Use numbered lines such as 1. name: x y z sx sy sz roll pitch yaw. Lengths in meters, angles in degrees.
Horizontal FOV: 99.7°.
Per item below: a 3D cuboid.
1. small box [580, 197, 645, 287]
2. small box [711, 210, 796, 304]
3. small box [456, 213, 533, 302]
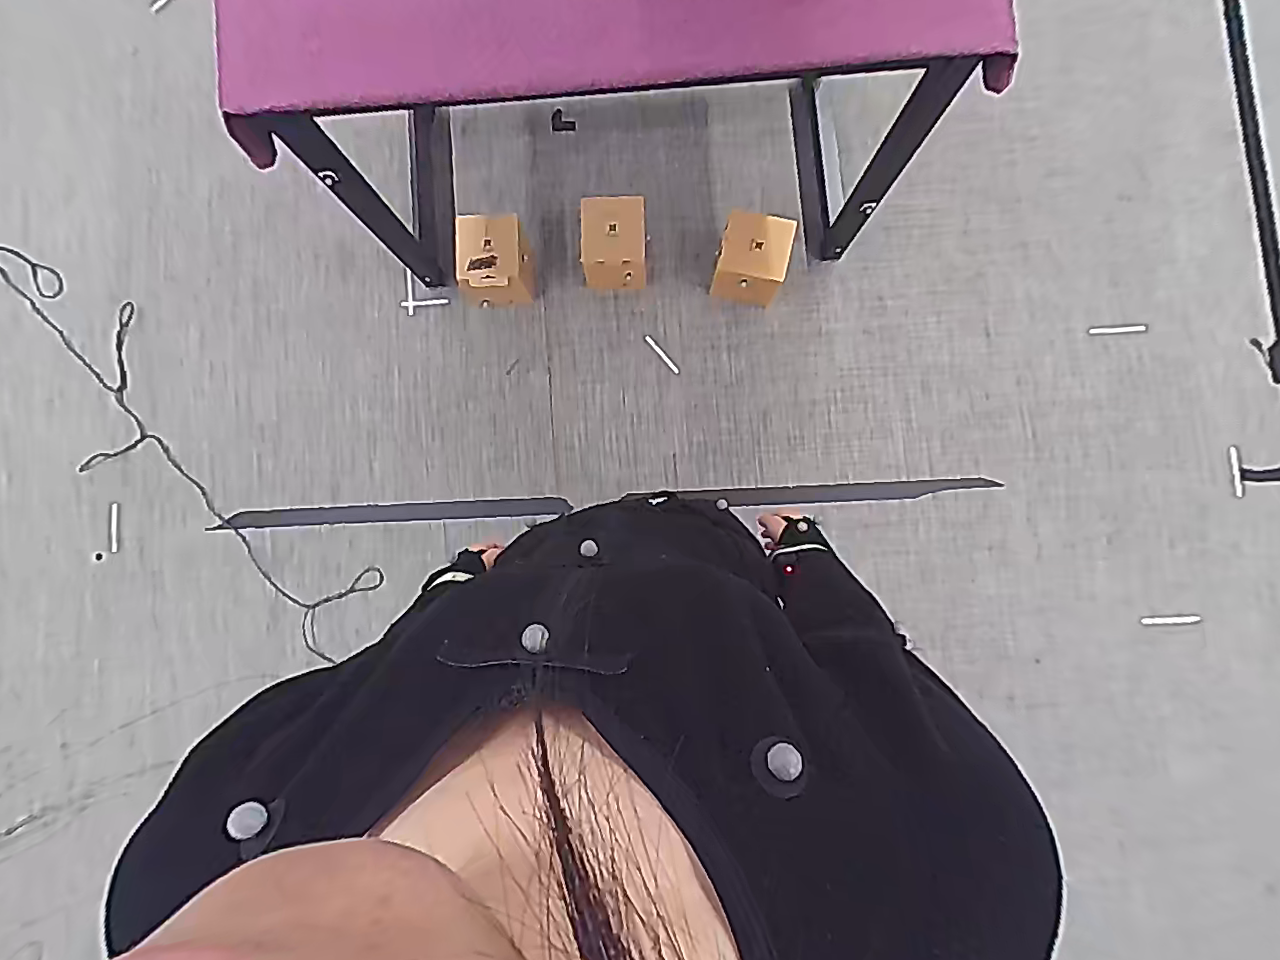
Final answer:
1. small box: -0.070 -0.638 1.472 0.168 0.176 0.179 -2 85 0
2. small box: 0.300 -0.594 1.462 0.179 0.176 0.168 13 88 3
3. small box: -0.392 -0.596 1.474 0.168 0.176 0.179 -3 85 1
